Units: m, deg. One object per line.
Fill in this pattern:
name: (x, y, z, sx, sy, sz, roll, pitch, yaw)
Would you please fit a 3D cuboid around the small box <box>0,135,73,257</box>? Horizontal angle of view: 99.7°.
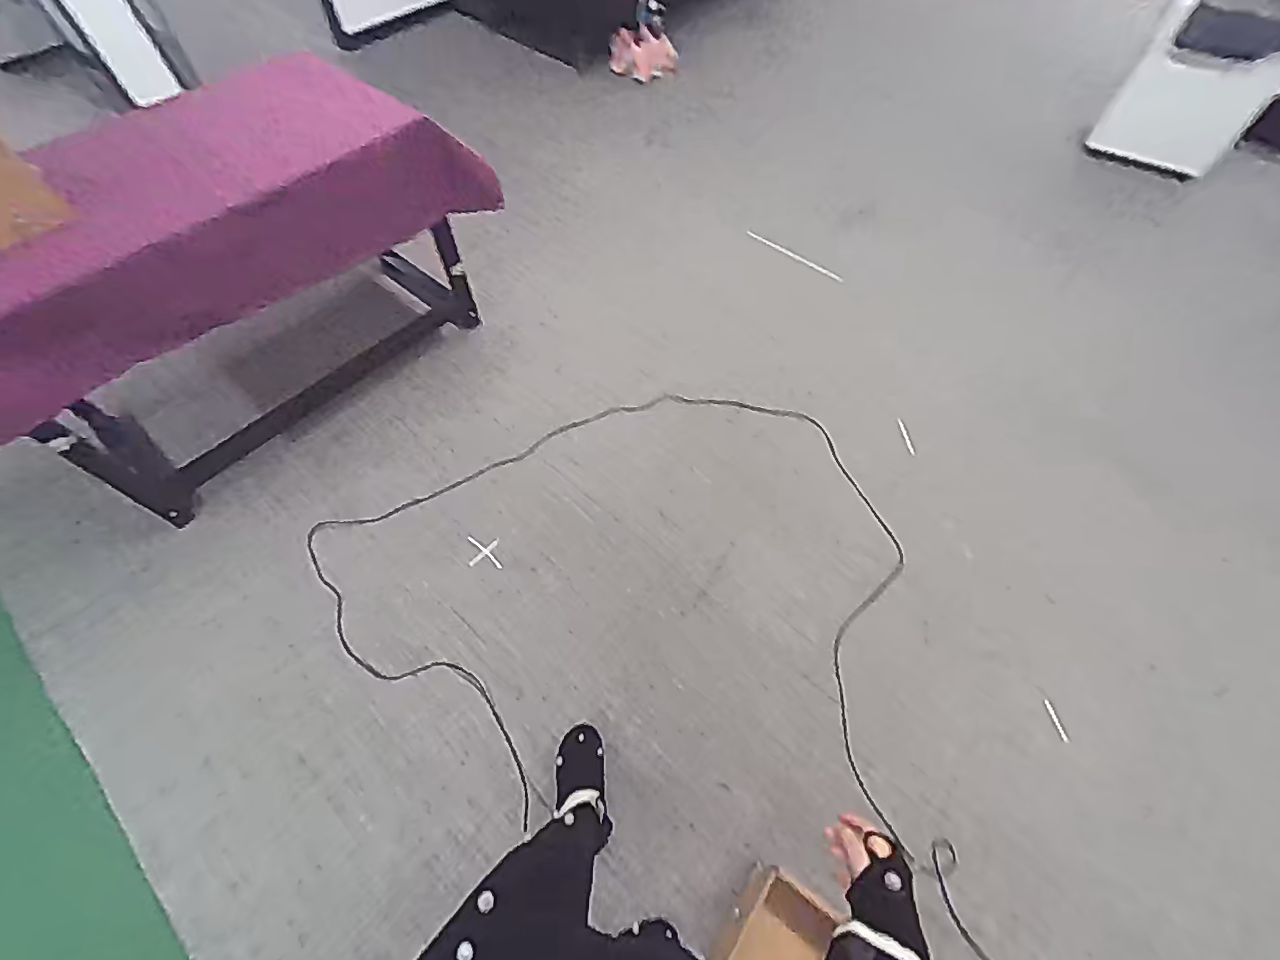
small box: (-1.377, -0.613, 1.147, 0.168, 0.176, 0.179, 35, 64, 19)
